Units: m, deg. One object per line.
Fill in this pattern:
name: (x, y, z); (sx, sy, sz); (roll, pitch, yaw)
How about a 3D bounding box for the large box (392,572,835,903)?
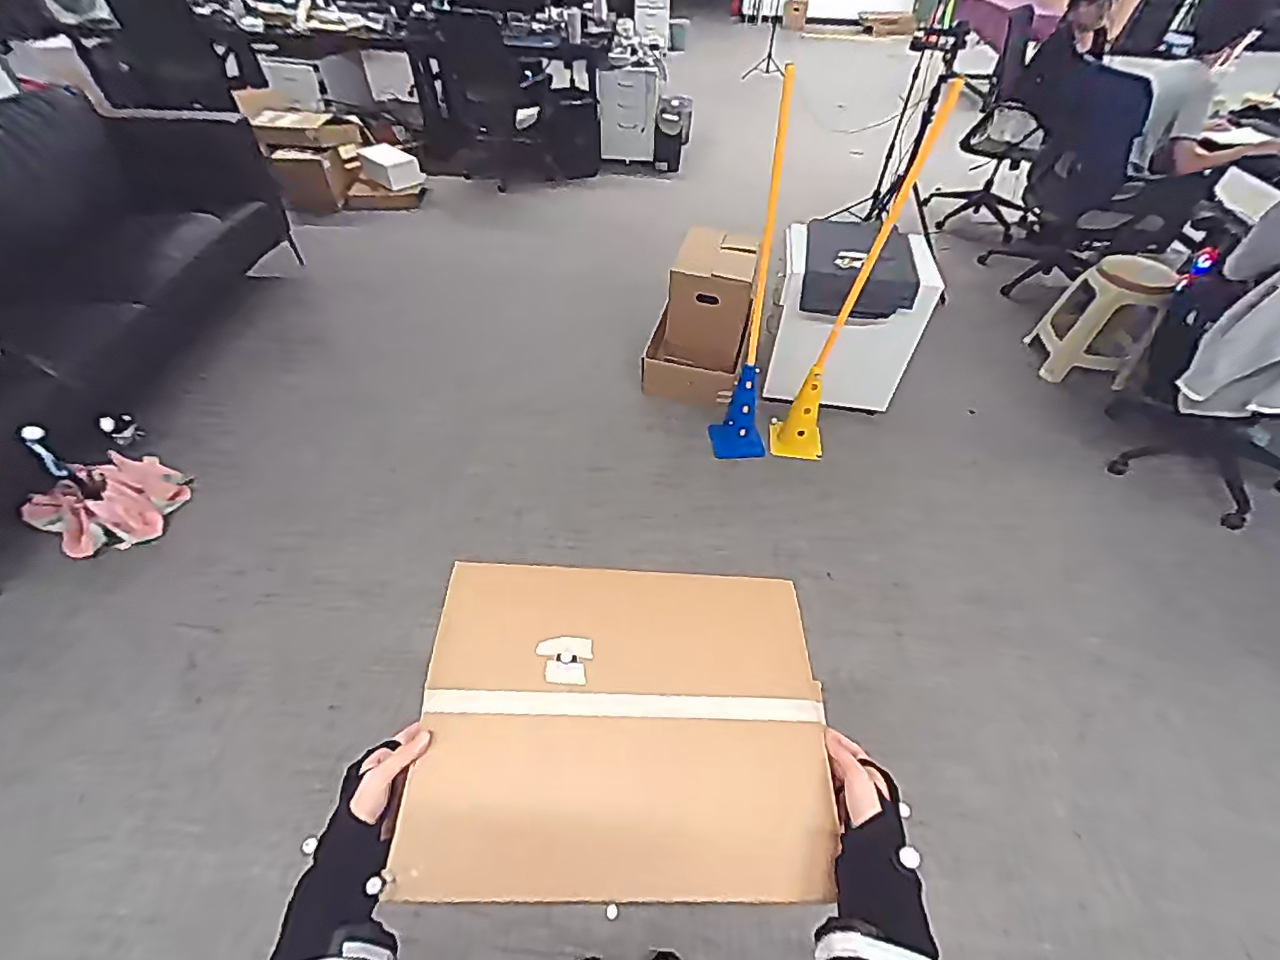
large box: (-0.029, 0.329, 0.685); (0.408, 0.320, 0.320); (4, 53, -4)
